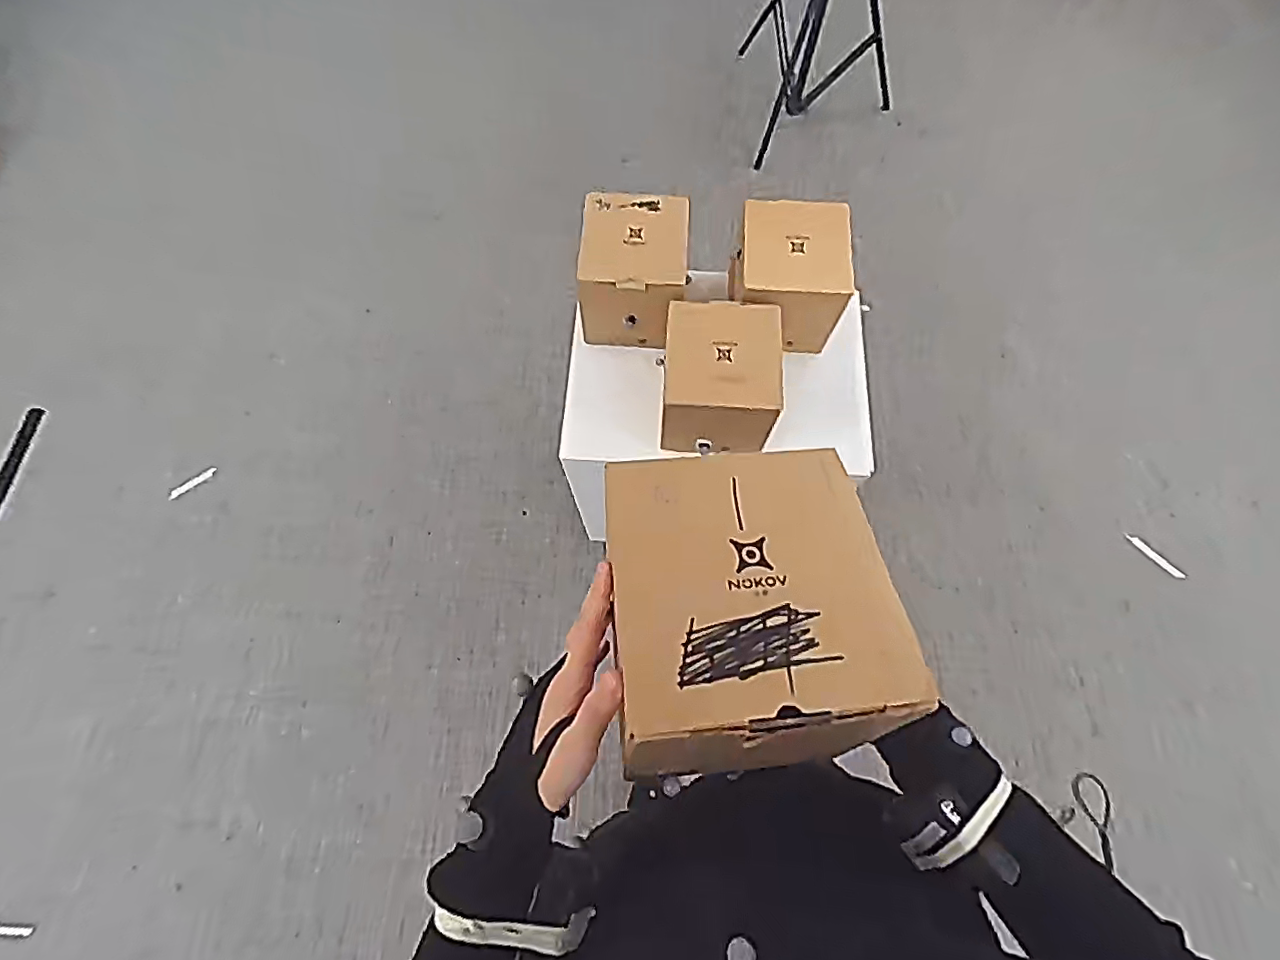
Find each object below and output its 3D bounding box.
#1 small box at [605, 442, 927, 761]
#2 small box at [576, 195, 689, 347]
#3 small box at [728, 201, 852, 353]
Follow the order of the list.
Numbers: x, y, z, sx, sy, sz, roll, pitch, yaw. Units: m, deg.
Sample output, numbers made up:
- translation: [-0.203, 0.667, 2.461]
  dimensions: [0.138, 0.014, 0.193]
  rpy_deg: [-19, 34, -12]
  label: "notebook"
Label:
- translation: [0.063, 0.095, 0.394]
  dimensions: [0.168, 0.176, 0.179]
  rpy_deg: [-4, 54, -6]
  label: "small box"
- translation: [-0.009, -0.342, 0.908]
  dimensions: [0.168, 0.176, 0.179]
  rpy_deg: [4, 72, 0]
  label: "small box"
- translation: [0.242, -0.331, 0.905]
  dimensions: [0.168, 0.176, 0.179]
  rpy_deg: [3, 70, 2]
  label: "small box"
